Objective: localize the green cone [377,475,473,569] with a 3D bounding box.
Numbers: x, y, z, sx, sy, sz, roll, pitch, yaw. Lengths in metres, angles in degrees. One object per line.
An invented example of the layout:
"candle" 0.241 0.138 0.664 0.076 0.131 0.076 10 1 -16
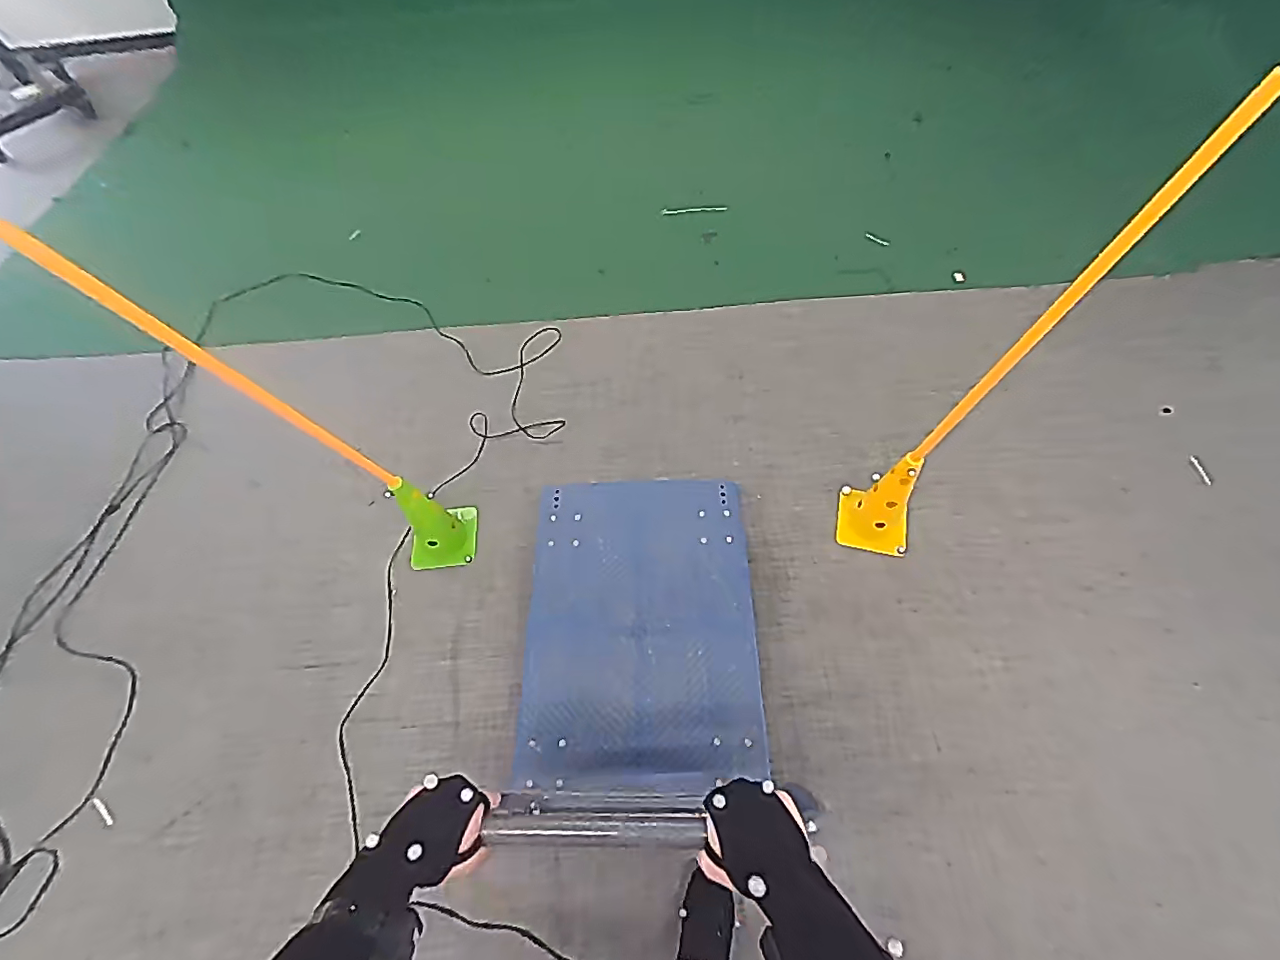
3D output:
"green cone" -0.642 0.090 1.551 0.202 0.368 0.200 -8 59 1
